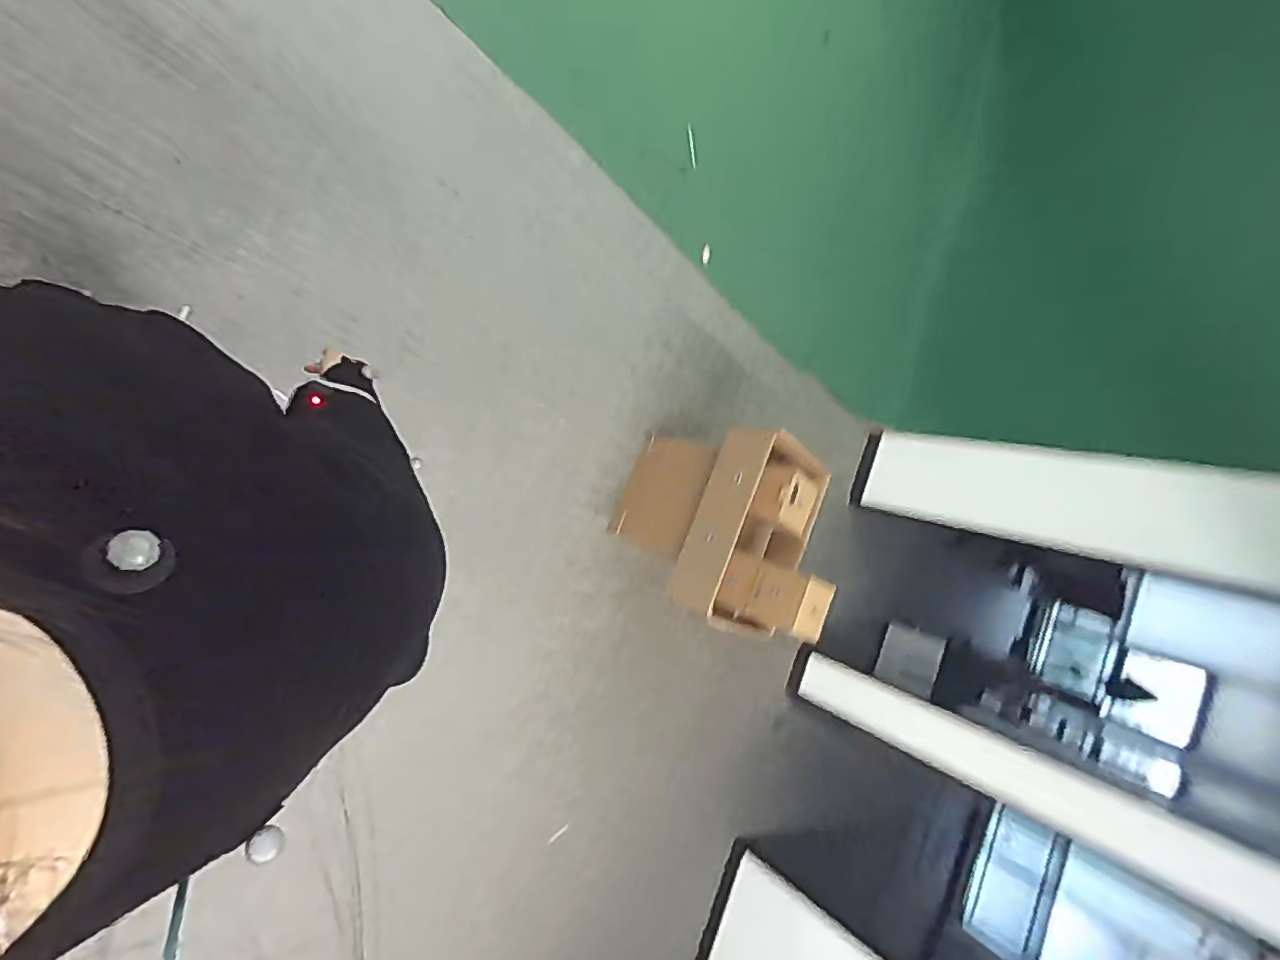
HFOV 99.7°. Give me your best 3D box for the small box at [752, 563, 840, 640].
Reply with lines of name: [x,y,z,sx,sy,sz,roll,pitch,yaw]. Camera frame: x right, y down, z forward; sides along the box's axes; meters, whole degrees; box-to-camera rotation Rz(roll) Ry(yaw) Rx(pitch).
small box: [0.465,0.360,1.622,0.179,0.176,0.168,28,82,-43]
